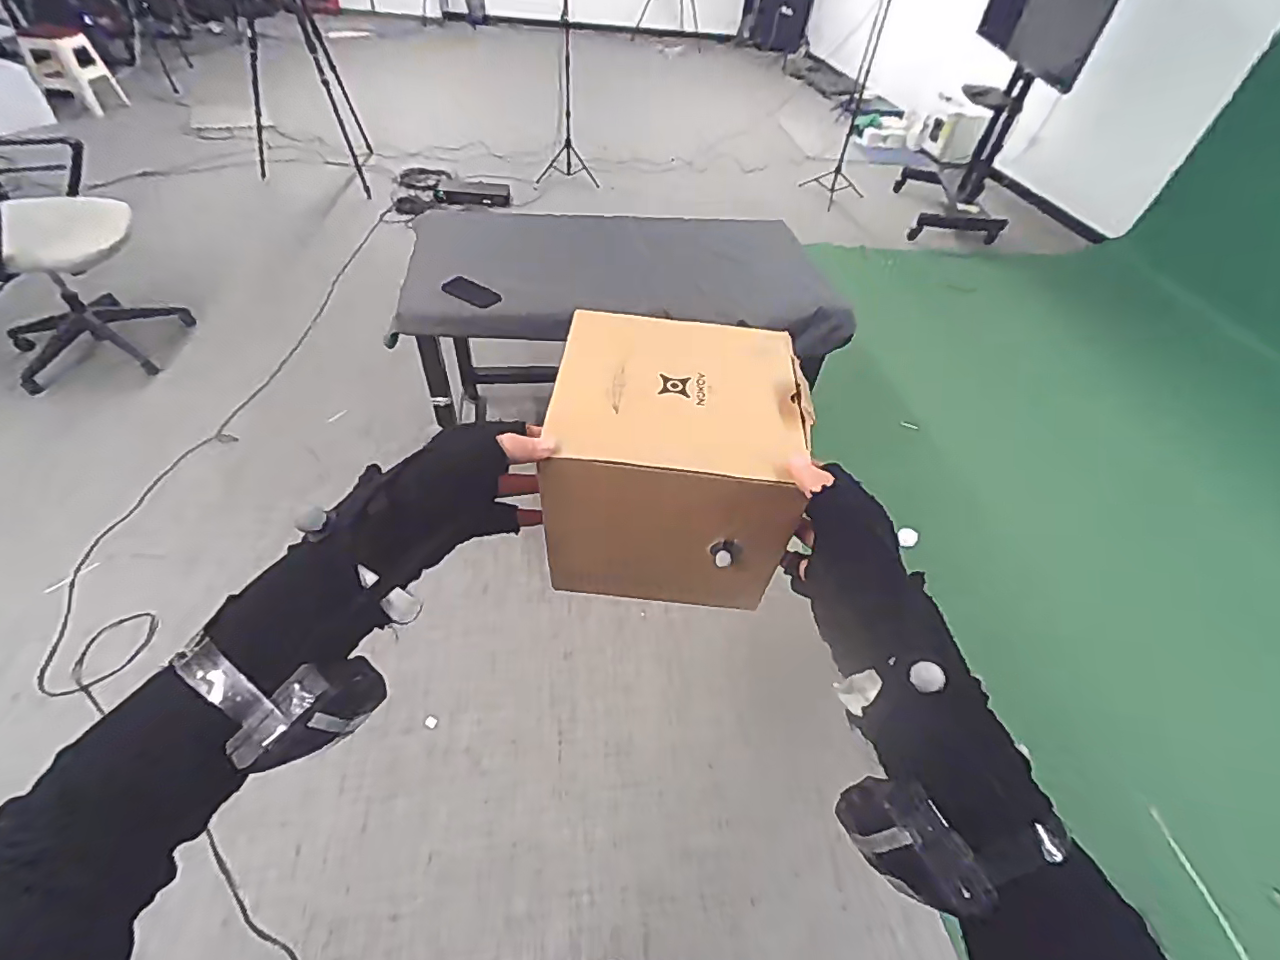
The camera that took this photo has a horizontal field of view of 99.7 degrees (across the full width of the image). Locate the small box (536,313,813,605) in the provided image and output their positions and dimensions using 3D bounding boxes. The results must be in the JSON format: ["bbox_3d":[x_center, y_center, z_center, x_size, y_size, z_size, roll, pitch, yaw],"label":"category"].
[{"bbox_3d":[0.023,-0.012,0.445,0.179,0.176,0.168,5,49,1],"label":"small box"}]
